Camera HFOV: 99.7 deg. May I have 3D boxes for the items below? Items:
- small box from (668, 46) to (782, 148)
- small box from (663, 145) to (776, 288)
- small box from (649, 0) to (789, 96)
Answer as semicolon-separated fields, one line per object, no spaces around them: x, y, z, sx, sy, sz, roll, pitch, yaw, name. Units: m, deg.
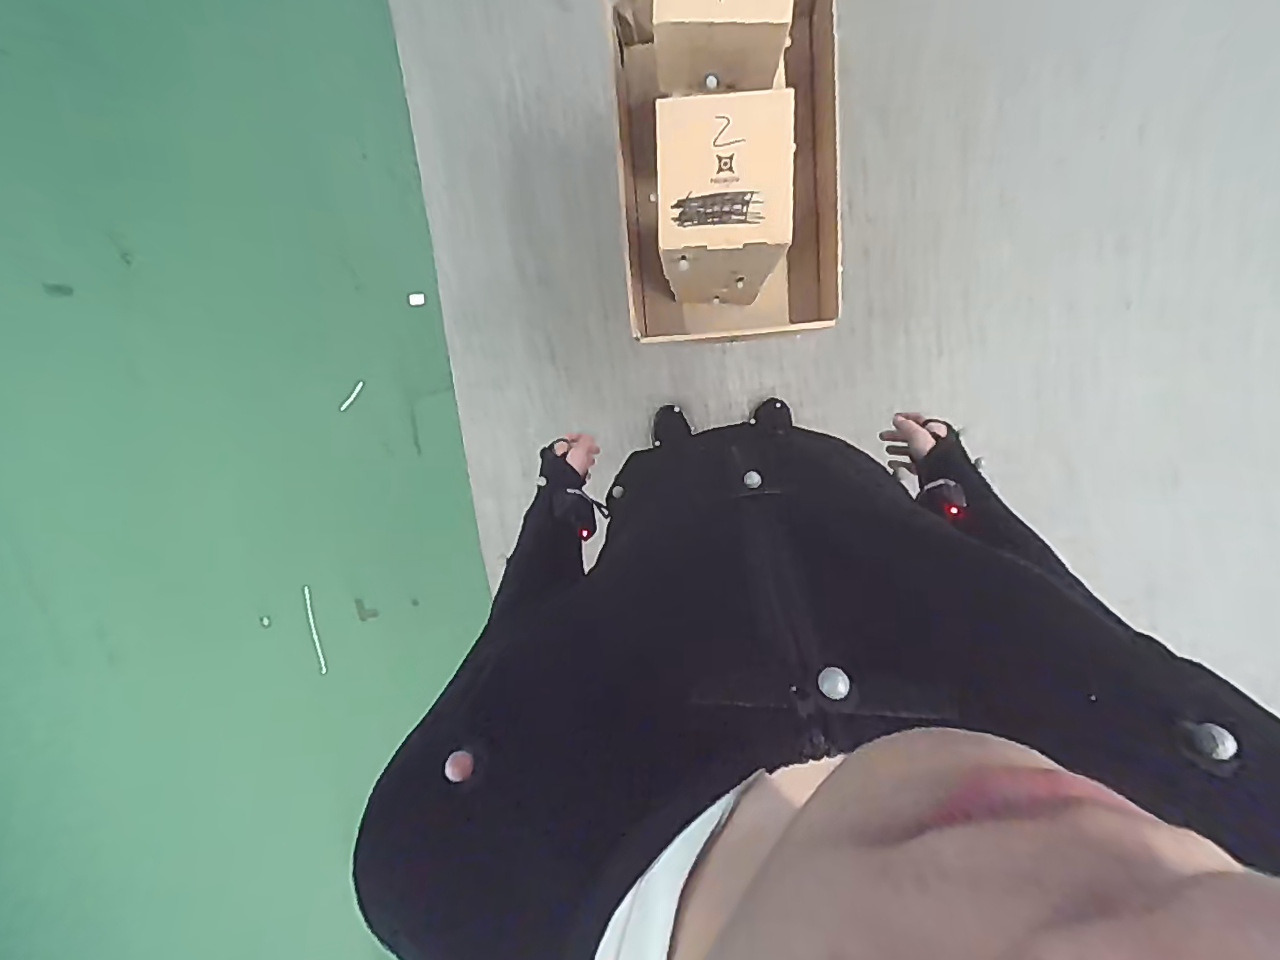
0.126;-0.662;0.858;0.168;0.176;0.179;-5;100;6;small box
0.127;-0.420;0.891;0.168;0.176;0.179;2;98;5;small box
0.104;-0.638;0.697;0.168;0.176;0.179;5;101;5;small box
